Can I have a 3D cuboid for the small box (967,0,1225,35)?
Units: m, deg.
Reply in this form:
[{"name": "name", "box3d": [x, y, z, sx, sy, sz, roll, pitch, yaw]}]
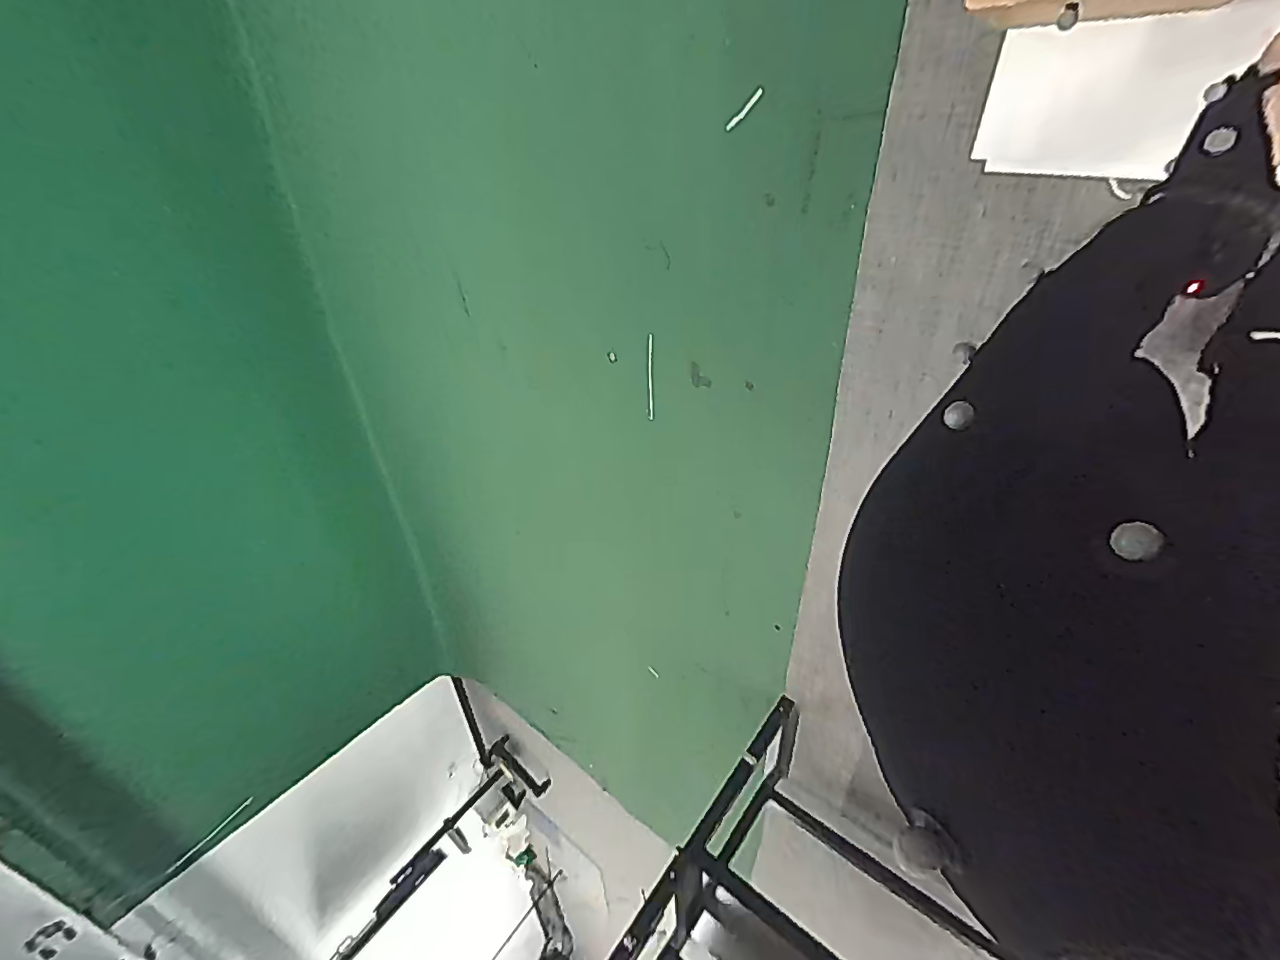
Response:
[{"name": "small box", "box3d": [0.393, -0.468, 0.422, 0.179, 0.176, 0.168, 22, 130, 32]}]
